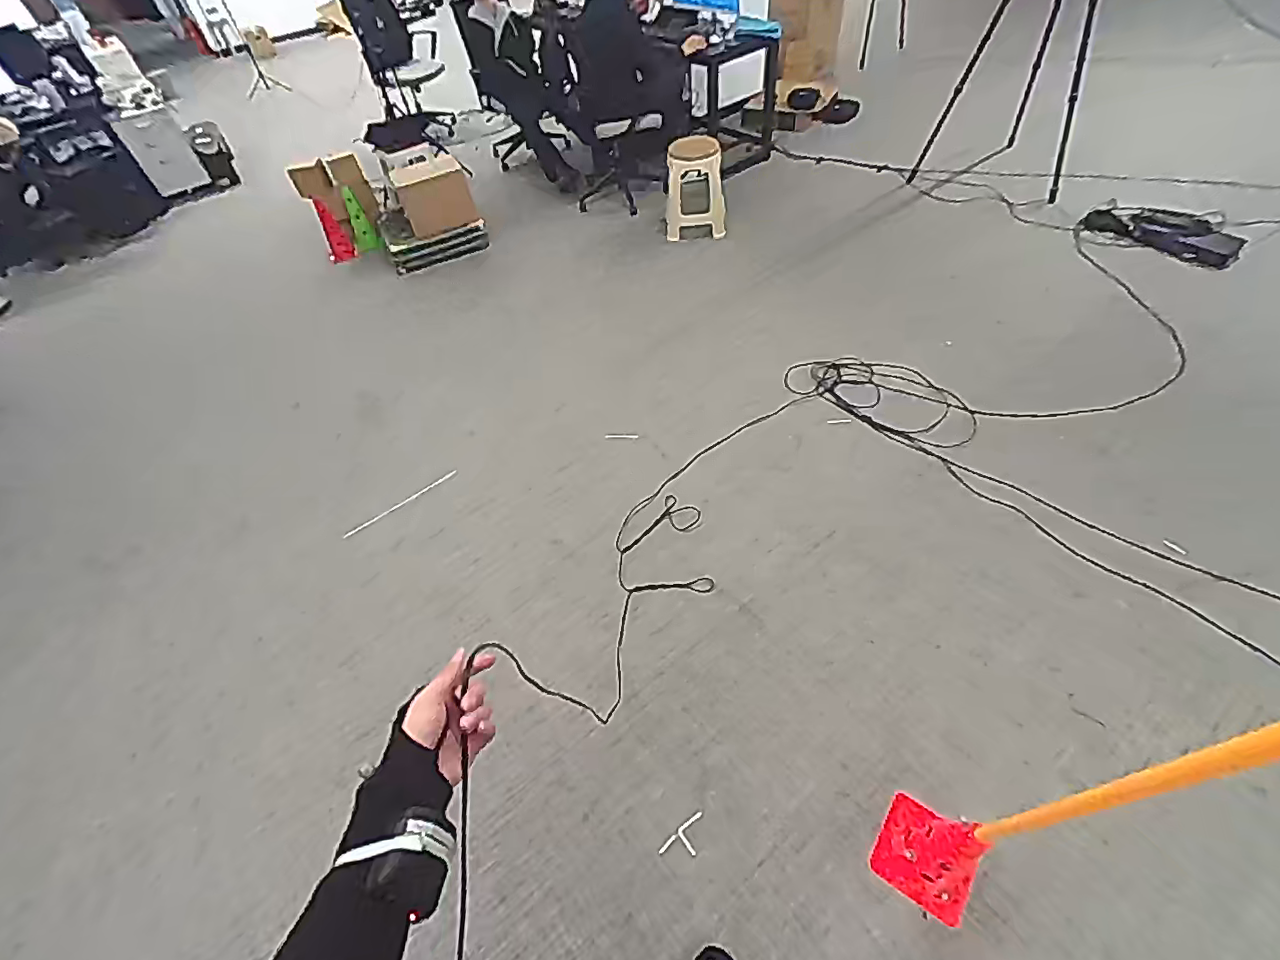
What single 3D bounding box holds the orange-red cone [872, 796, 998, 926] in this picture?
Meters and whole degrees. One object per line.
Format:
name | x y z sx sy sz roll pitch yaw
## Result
orange-red cone | 0.650 0.764 1.125 0.198 0.360 0.199 28 58 27
